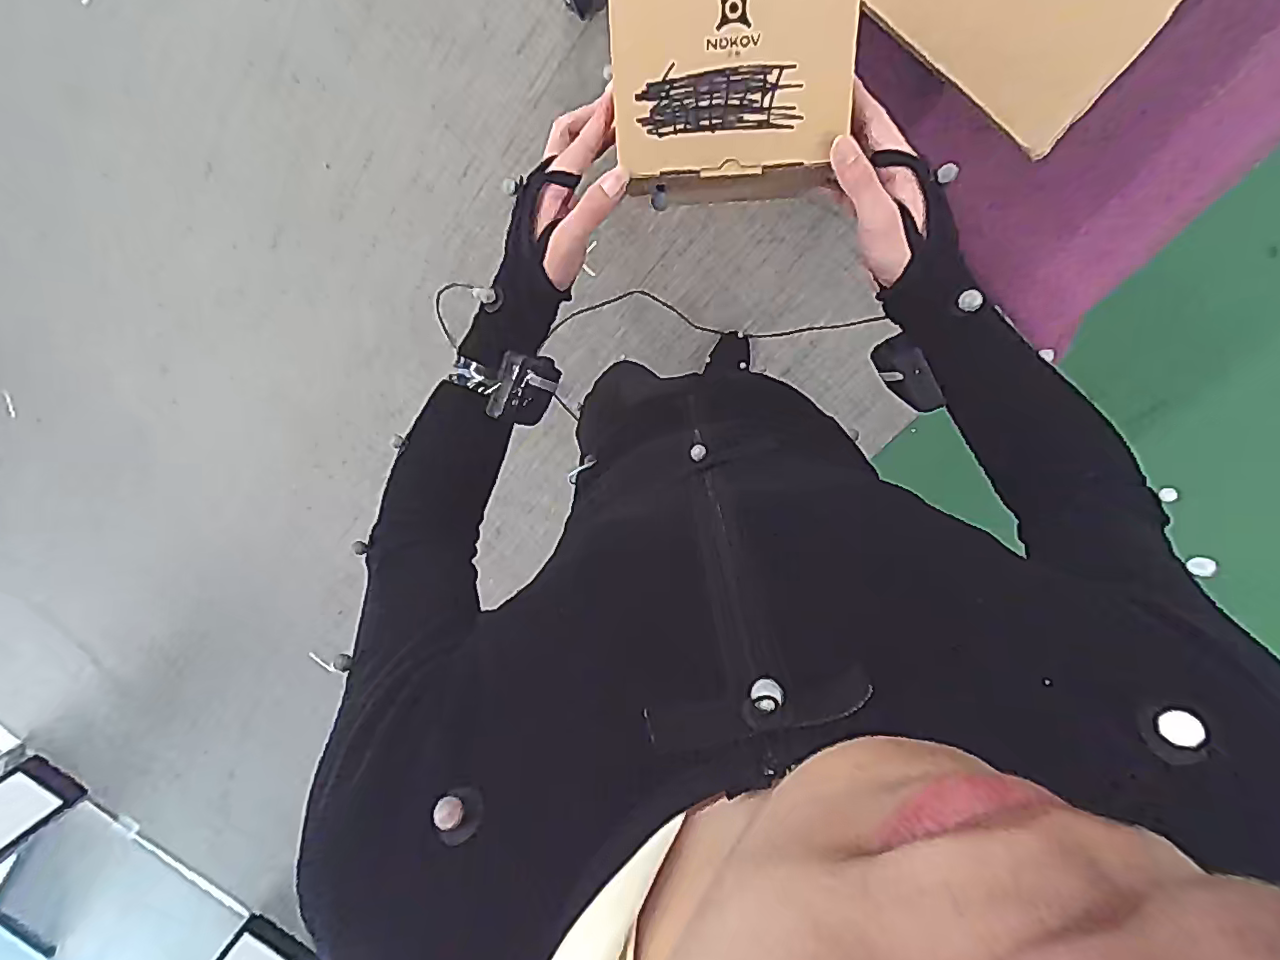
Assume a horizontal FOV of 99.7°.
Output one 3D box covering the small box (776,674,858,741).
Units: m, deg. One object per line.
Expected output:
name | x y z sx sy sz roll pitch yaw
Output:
small box | 0.551 0.754 1.705 0.179 0.176 0.168 43 107 -4

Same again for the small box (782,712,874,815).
small box | 0.527 0.798 1.549 0.179 0.176 0.168 44 108 -5
